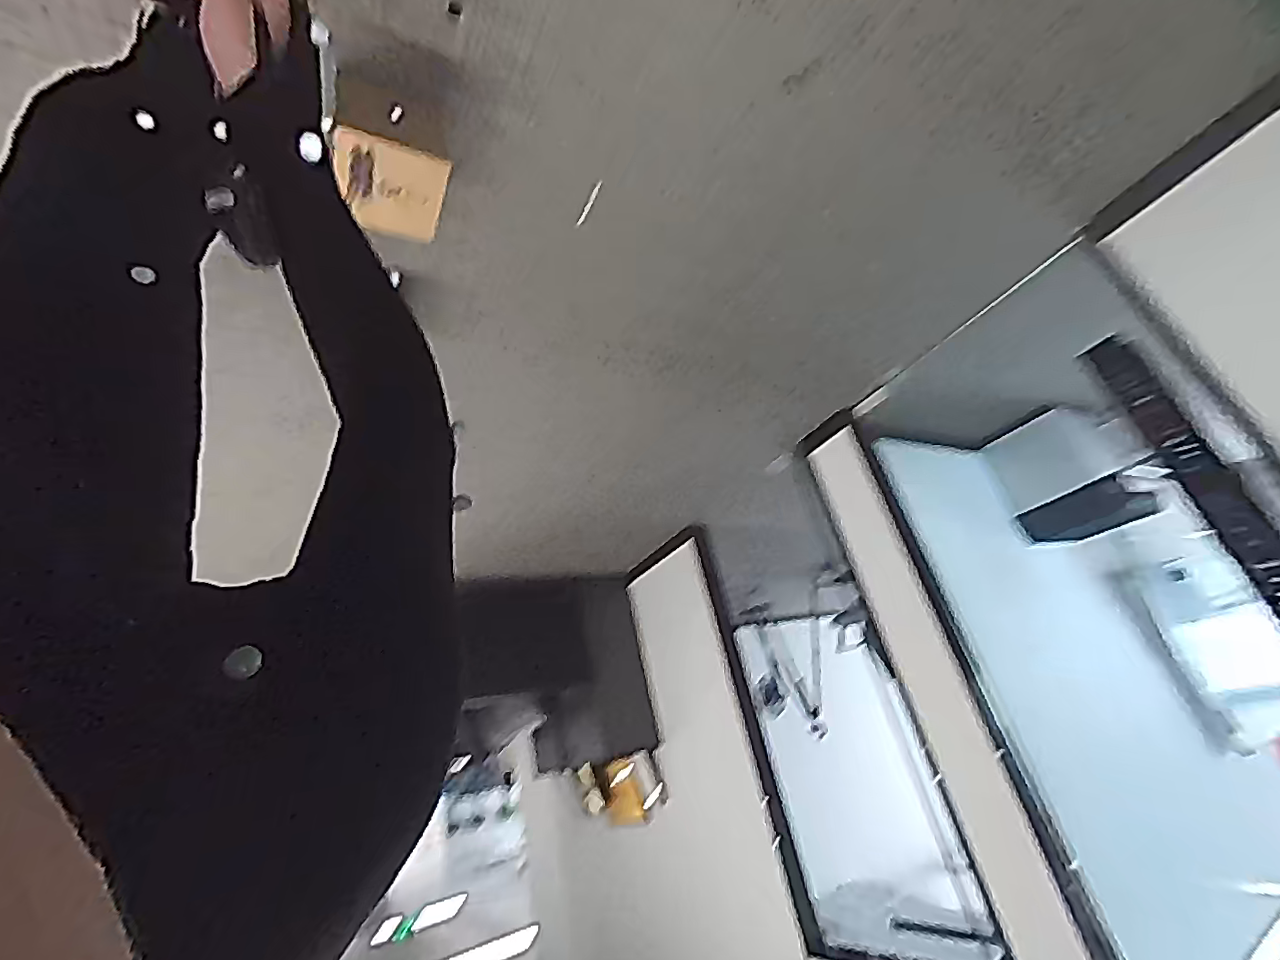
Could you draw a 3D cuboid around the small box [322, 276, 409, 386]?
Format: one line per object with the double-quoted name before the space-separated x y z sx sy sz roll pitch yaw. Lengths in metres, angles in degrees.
"small box" -0.659 -0.354 1.290 0.168 0.176 0.179 4 149 -32
